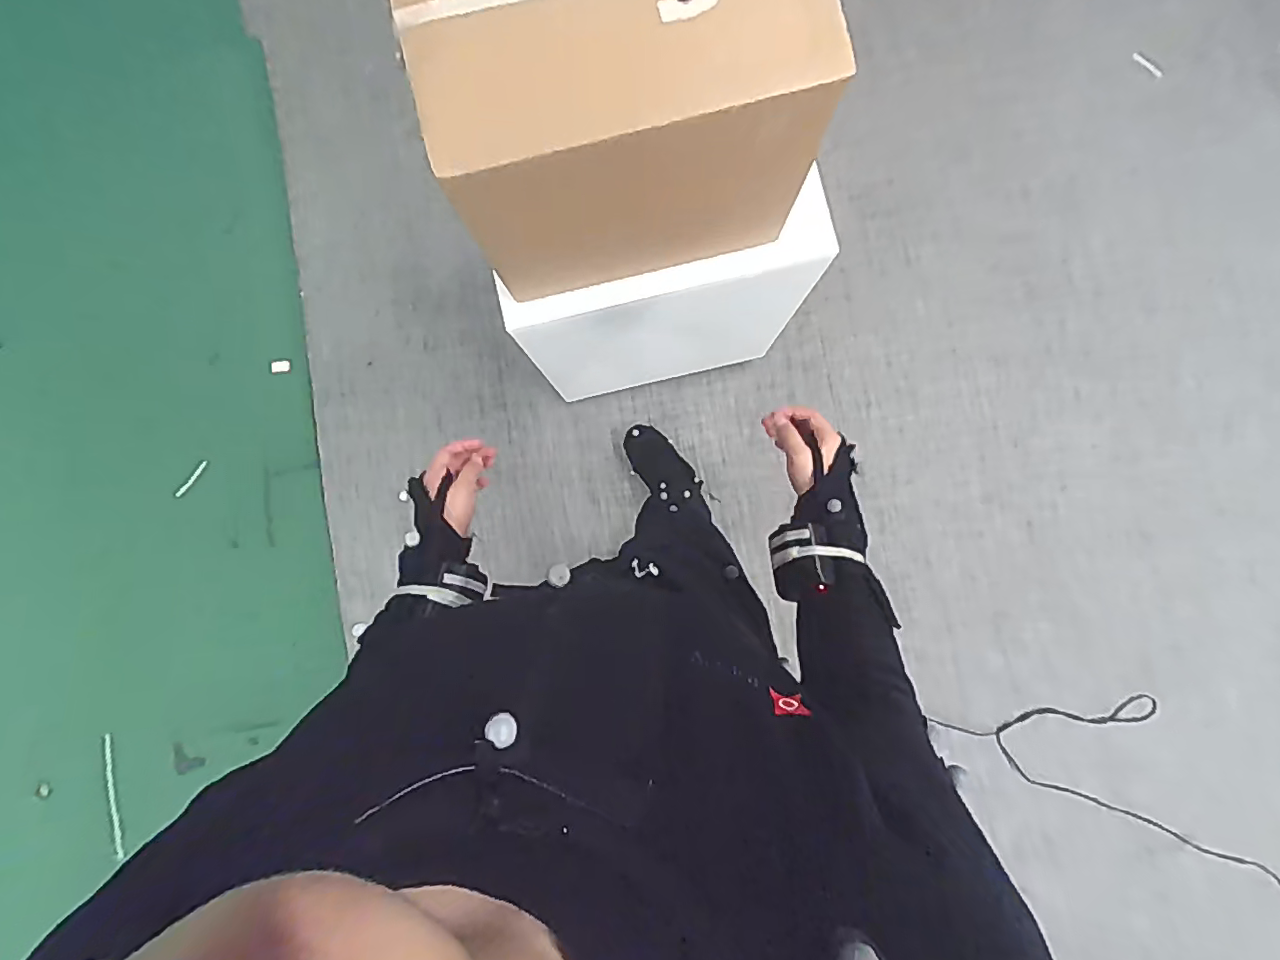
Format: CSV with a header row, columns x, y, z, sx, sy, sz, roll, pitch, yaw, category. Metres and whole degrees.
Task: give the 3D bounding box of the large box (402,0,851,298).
x,y,z,sx,sy,sz,roll,pitch,yaw,category
-0.029,-0.469,0.663,0.408,0.320,0.320,-14,88,-1,large box
